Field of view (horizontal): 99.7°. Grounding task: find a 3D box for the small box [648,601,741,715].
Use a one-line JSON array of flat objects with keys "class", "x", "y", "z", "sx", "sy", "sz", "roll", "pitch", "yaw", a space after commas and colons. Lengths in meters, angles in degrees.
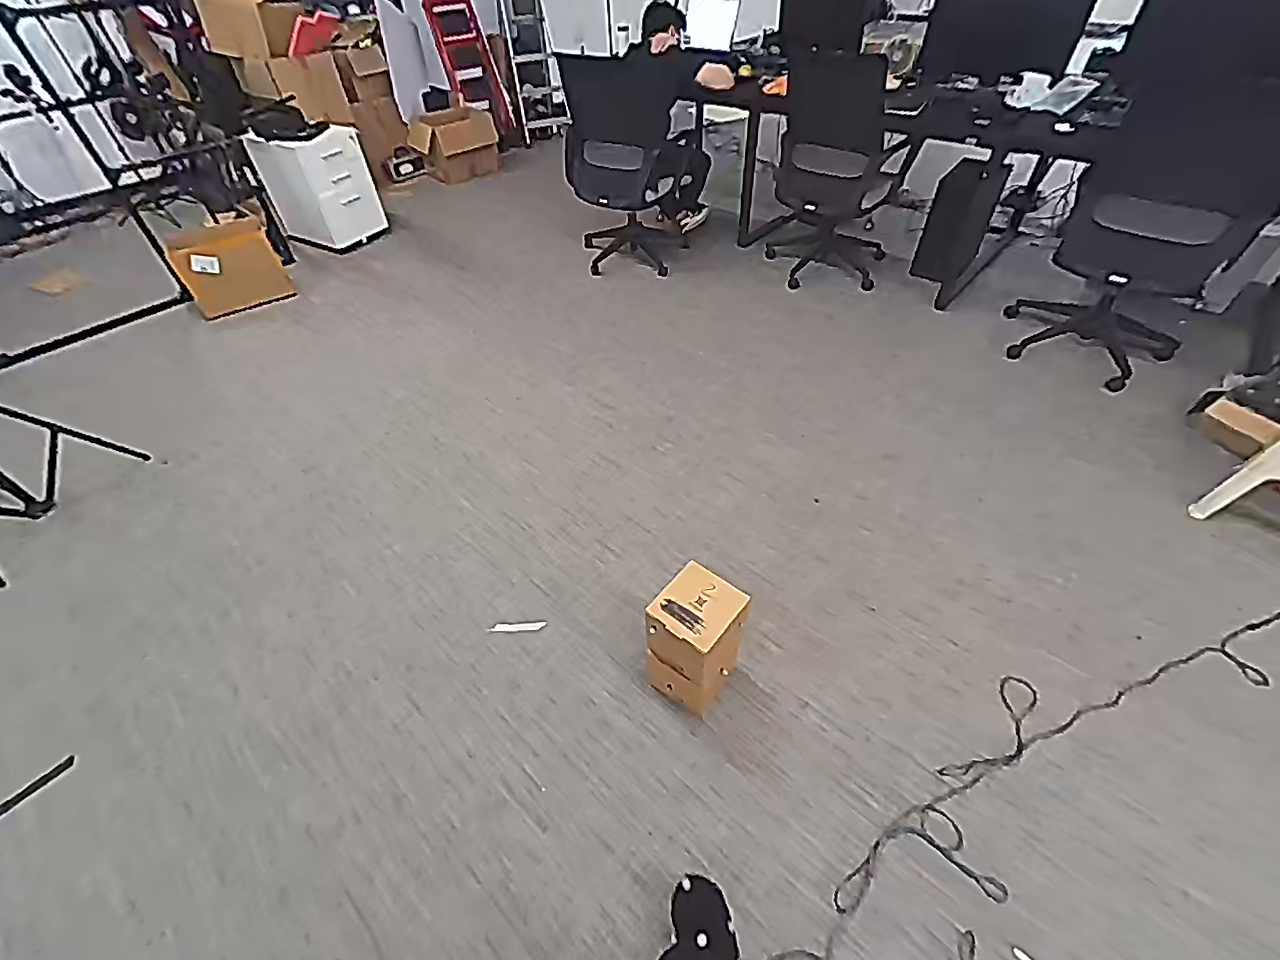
[{"class": "small box", "x": 0.133, "y": 0.446, "z": 1.354, "sx": 0.168, "sy": 0.176, "sz": 0.179, "roll": 26, "pitch": 53, "yaw": 26}]
